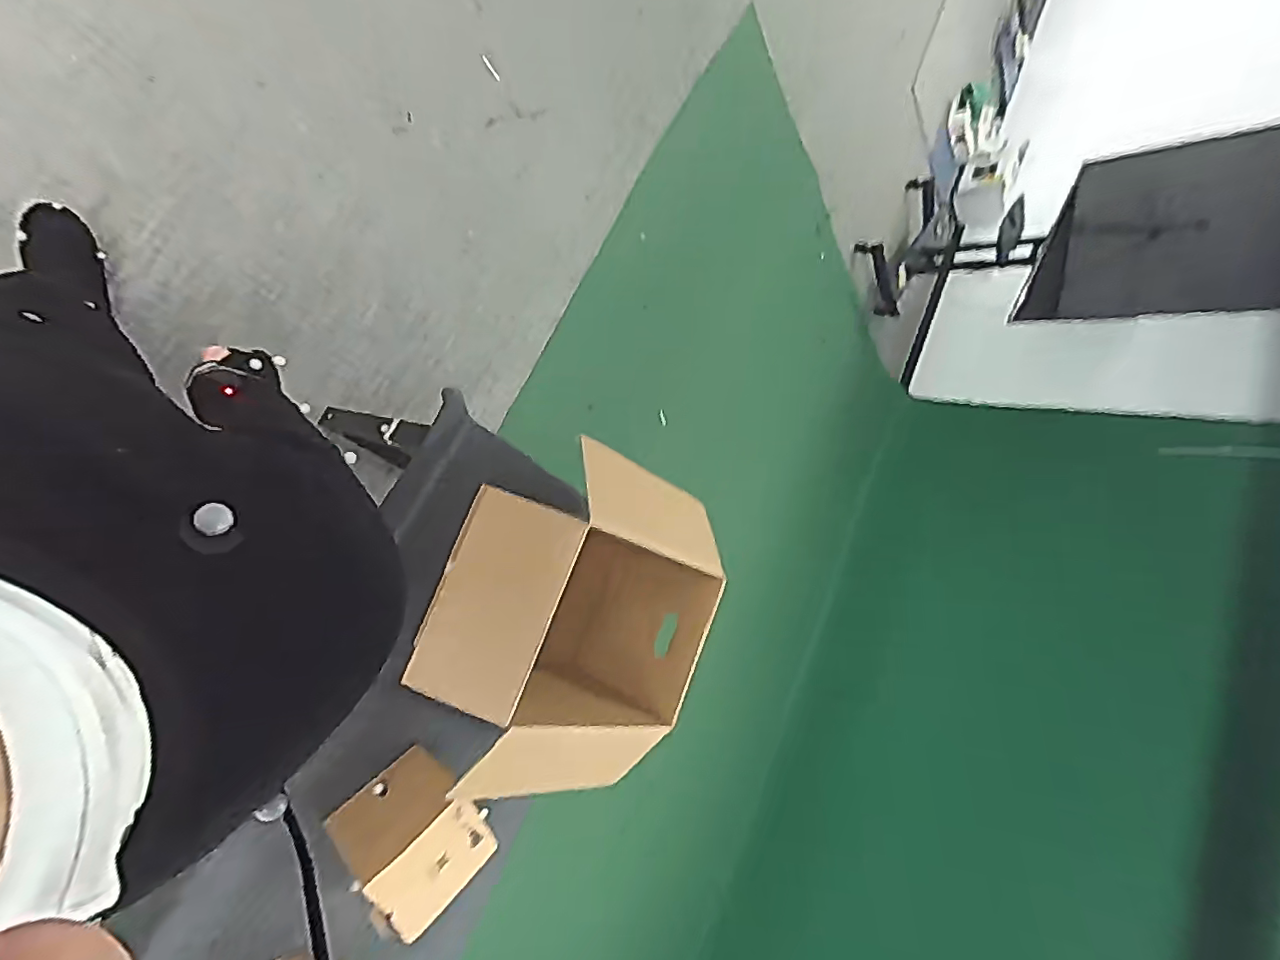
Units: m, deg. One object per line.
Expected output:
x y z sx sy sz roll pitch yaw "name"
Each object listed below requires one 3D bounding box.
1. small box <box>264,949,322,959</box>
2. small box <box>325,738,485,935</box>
-0.549 0.864 0.815 0.168 0.176 0.179 -49 132 -25 "small box"
-0.399 0.582 0.906 0.179 0.176 0.168 -33 121 -36 "small box"
